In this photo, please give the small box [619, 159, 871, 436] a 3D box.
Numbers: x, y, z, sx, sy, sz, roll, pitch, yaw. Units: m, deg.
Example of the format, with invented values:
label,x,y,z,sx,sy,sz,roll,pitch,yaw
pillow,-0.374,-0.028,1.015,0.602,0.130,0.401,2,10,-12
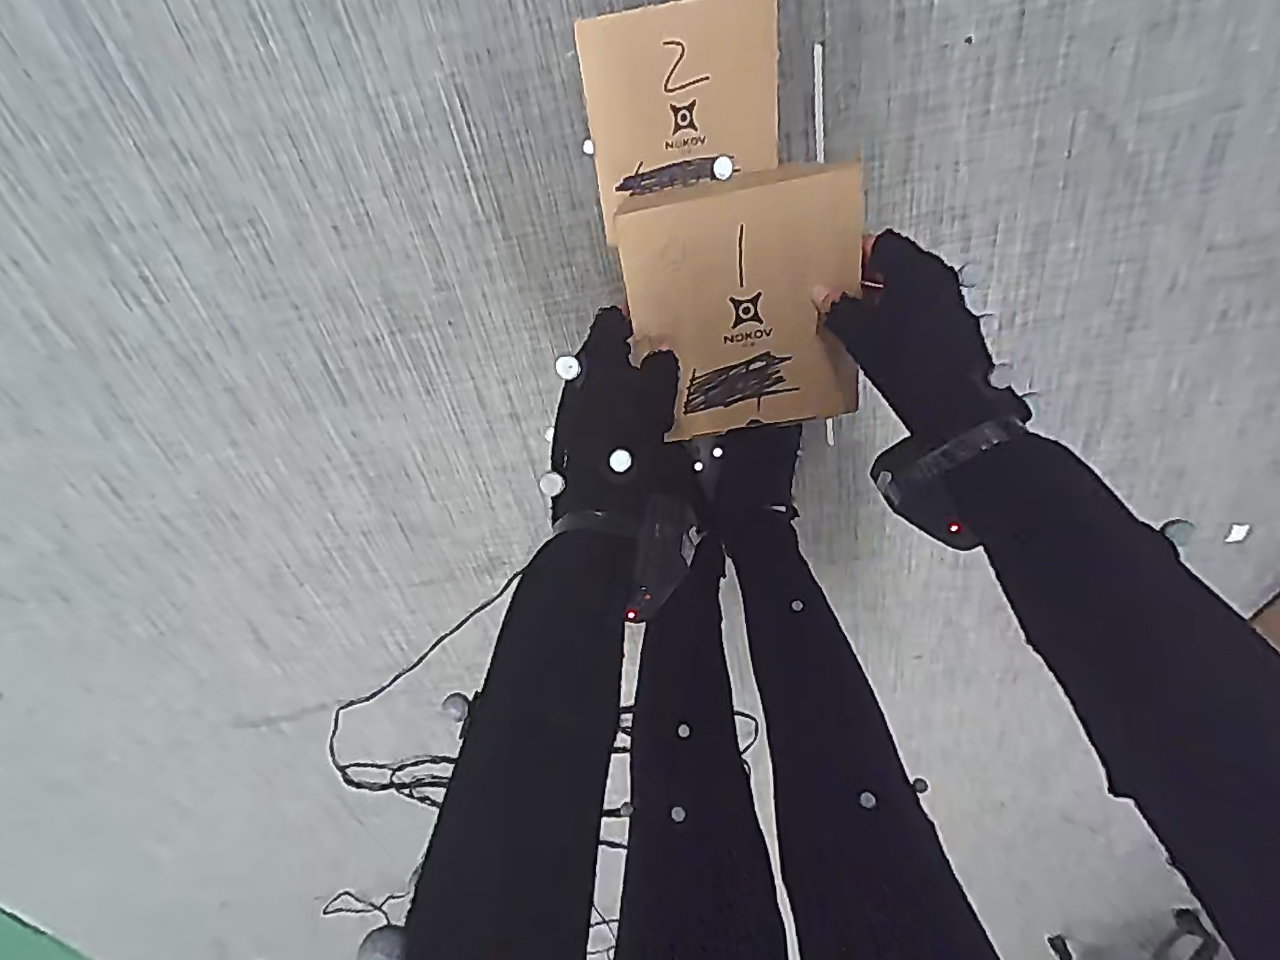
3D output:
label,x,y,z,sx,sy,sz,roll,pitch,yaw
small box,0.082,-0.160,0.461,0.168,0.176,0.179,-8,120,6
